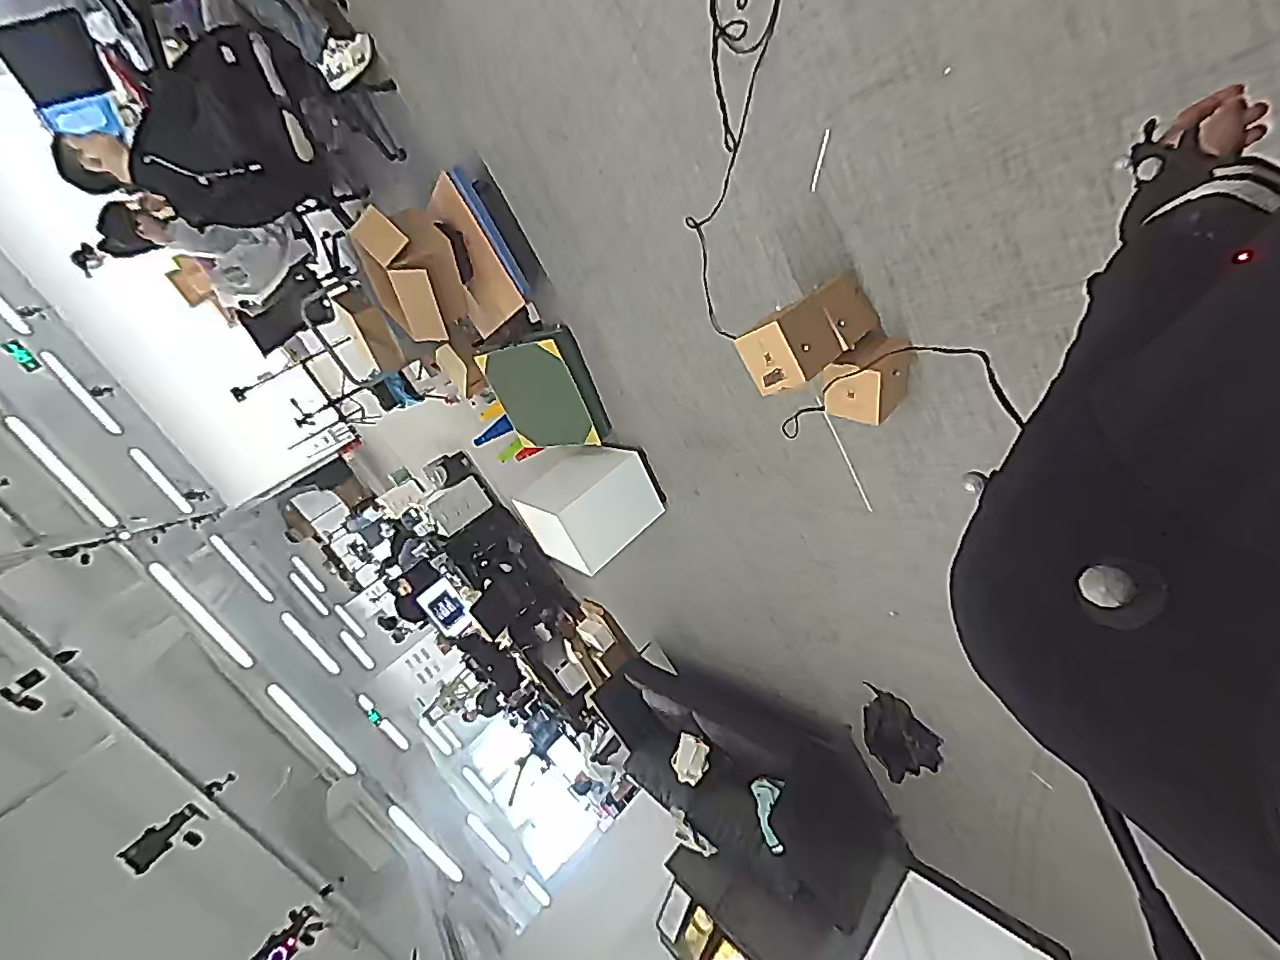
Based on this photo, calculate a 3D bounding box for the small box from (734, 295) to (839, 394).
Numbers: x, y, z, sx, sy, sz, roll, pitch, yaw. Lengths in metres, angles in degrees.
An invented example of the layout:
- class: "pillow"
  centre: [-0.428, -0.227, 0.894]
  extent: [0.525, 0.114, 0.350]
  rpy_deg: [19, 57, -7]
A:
- class: "small box"
  centre: [0.390, -0.354, 1.424]
  extent: [0.179, 0.176, 0.168]
  rpy_deg: [58, 152, -13]

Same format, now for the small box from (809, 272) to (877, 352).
- class: "small box"
  centre: [0.513, -0.439, 1.495]
  extent: [0.168, 0.176, 0.179]
  rpy_deg: [56, 153, -8]
